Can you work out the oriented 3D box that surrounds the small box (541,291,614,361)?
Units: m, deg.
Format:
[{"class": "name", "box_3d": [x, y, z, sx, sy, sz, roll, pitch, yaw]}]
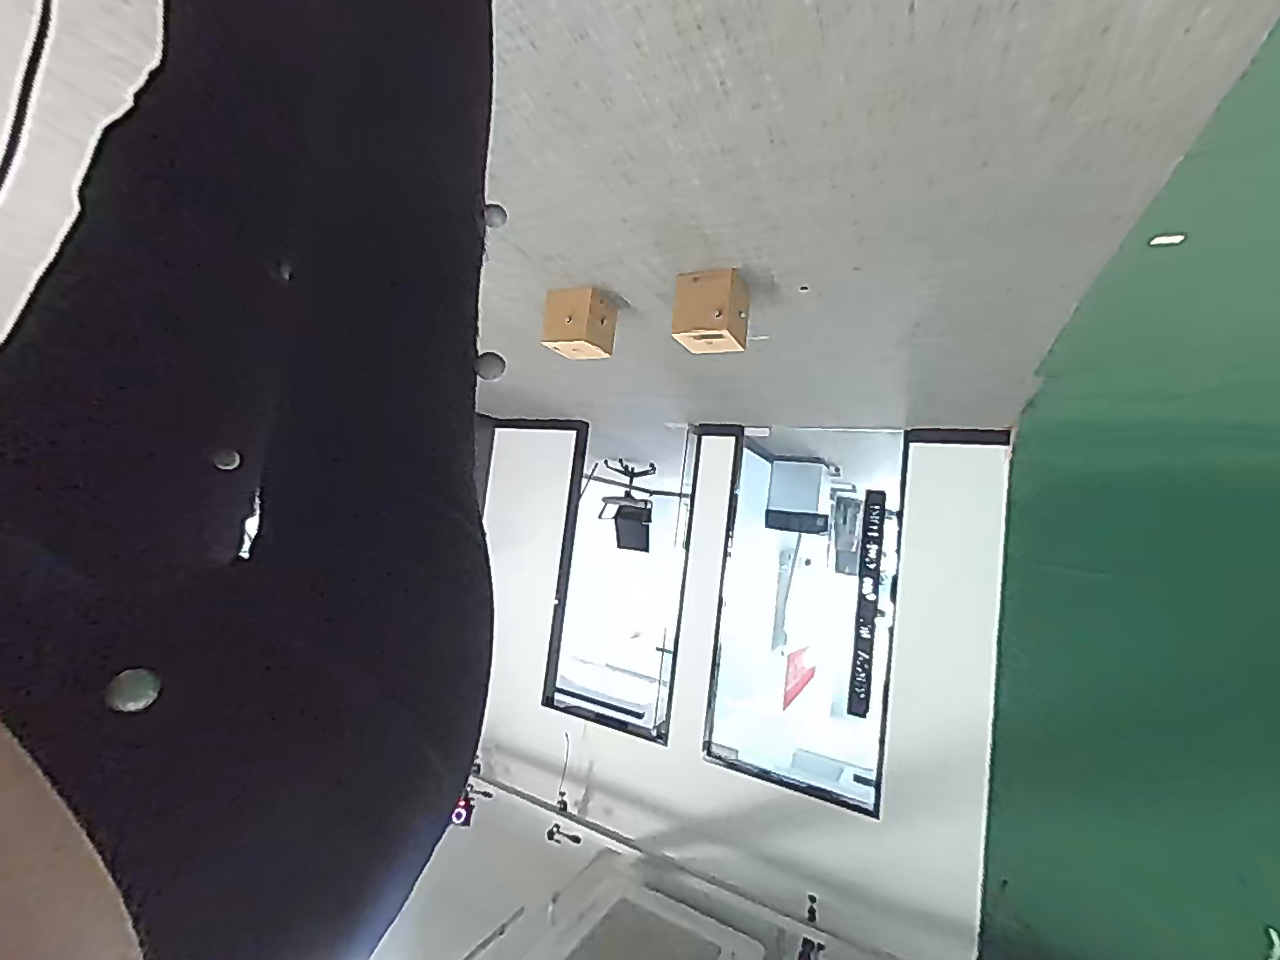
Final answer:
[{"class": "small box", "box_3d": [-0.193, -0.491, 1.725, 0.179, 0.176, 0.168, 4, 175, 27]}]
